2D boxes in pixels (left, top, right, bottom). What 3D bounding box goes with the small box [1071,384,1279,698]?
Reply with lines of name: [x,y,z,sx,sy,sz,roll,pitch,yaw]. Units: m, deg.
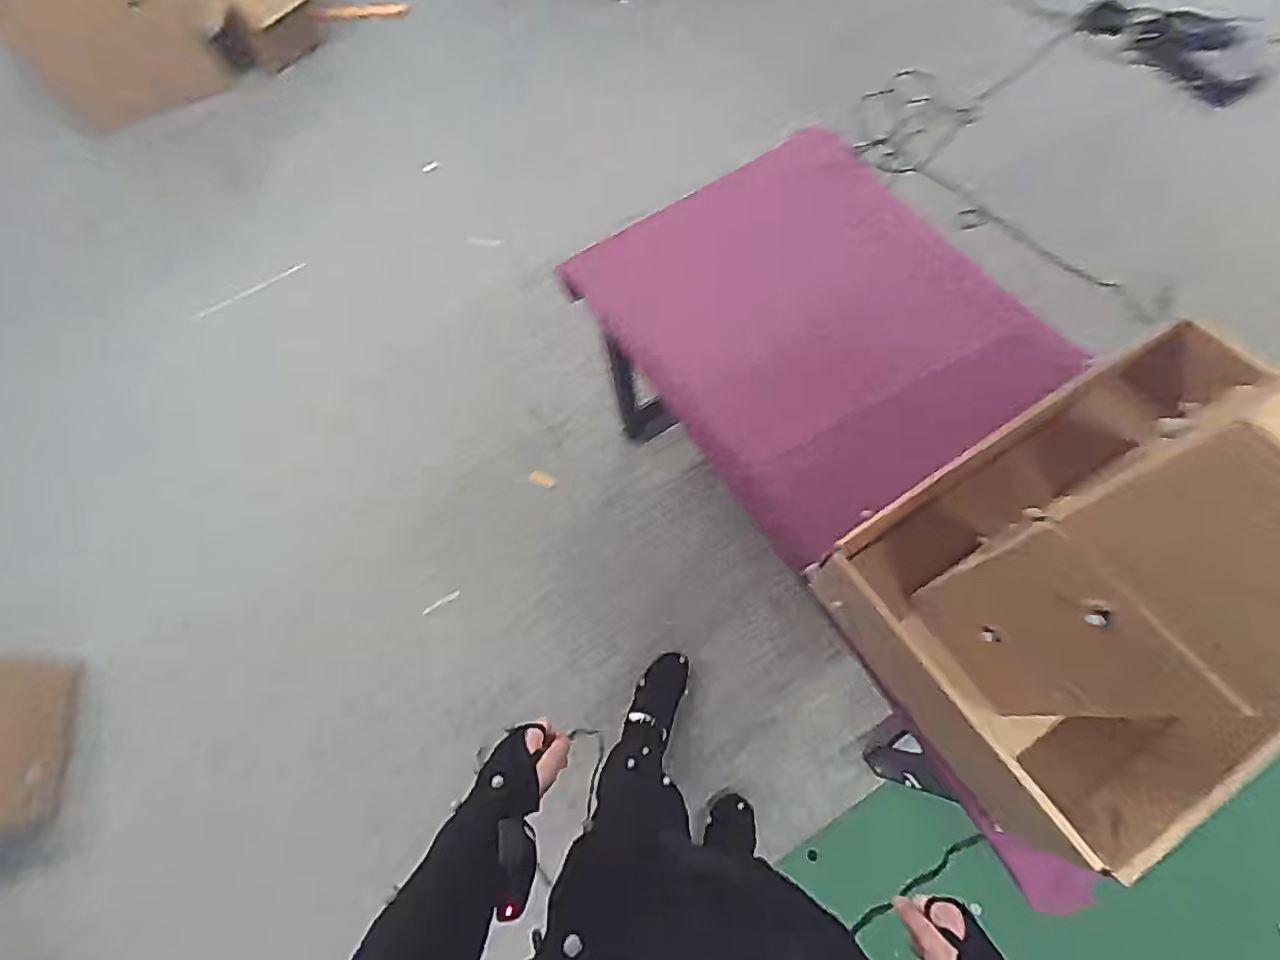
small box: [0.451,0.027,0.348,0.168,0.176,0.179,-30,66,-8]

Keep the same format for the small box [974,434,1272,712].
small box: [0.461,0.095,0.498,0.168,0.176,0.179,-29,67,-7]
